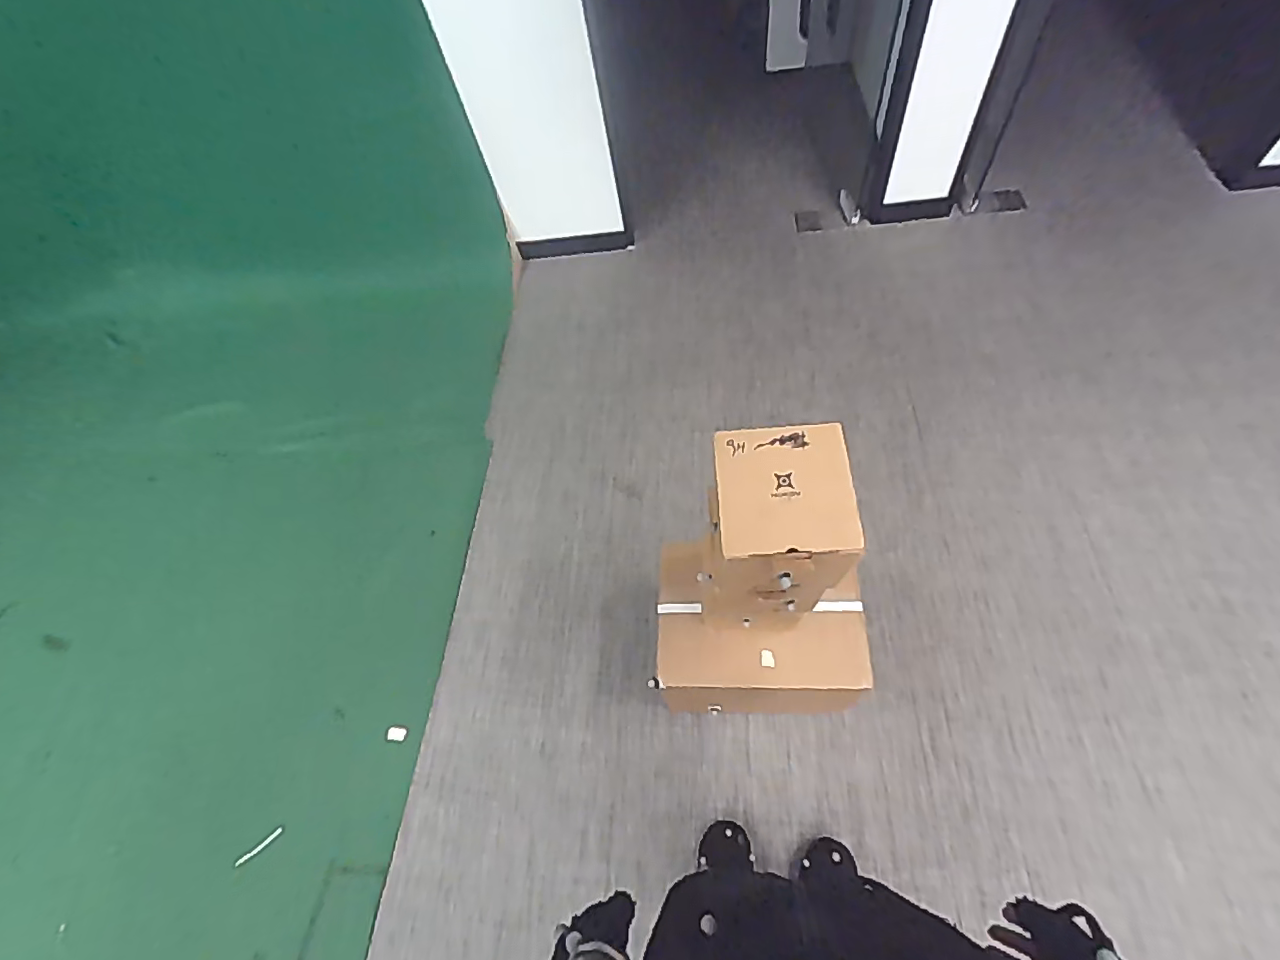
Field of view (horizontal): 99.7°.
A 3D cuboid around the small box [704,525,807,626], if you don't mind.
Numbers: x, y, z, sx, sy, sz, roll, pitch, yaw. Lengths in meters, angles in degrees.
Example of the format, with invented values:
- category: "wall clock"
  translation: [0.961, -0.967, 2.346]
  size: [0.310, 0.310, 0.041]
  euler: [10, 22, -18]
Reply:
- category: "small box"
  translation: [0.213, 0.184, 1.042]
  size: [0.179, 0.176, 0.168]
  euler: [-2, 66, 8]

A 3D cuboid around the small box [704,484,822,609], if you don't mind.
- category: "small box"
  translation: [0.196, 0.114, 0.896]
  size: [0.168, 0.176, 0.179]
  euler: [-4, 64, 7]

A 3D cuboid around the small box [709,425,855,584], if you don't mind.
- category: "small box"
  translation: [0.185, 0.044, 0.749]
  size: [0.168, 0.176, 0.179]
  euler: [-4, 66, 7]
